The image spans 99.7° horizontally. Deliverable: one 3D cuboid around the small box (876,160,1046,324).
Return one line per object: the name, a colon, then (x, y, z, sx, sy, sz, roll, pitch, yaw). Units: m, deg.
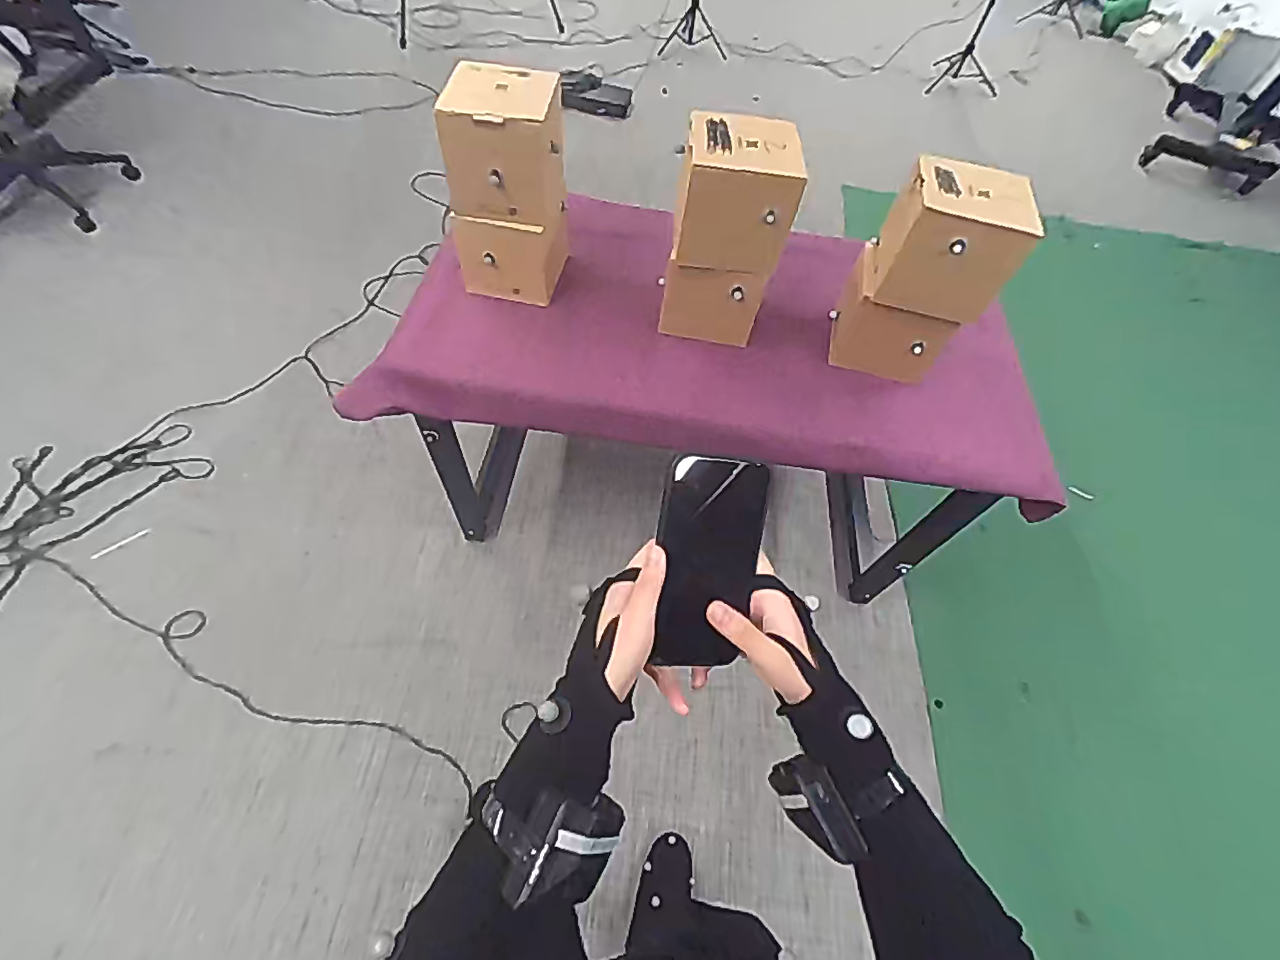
small box: (0.502, -0.379, 0.876, 0.179, 0.176, 0.168, 15, 57, 4)

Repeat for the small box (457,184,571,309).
small box: (-0.232, -0.461, 1.053, 0.168, 0.176, 0.179, 11, 57, 1)

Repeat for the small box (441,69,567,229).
small box: (-0.217, -0.556, 0.919, 0.168, 0.176, 0.179, 7, 58, -2)

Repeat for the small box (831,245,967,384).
small box: (0.482, -0.305, 1.021, 0.179, 0.176, 0.168, 15, 57, 5)

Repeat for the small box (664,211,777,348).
small box: (0.150, -0.377, 1.033, 0.179, 0.176, 0.168, 10, 57, 1)
